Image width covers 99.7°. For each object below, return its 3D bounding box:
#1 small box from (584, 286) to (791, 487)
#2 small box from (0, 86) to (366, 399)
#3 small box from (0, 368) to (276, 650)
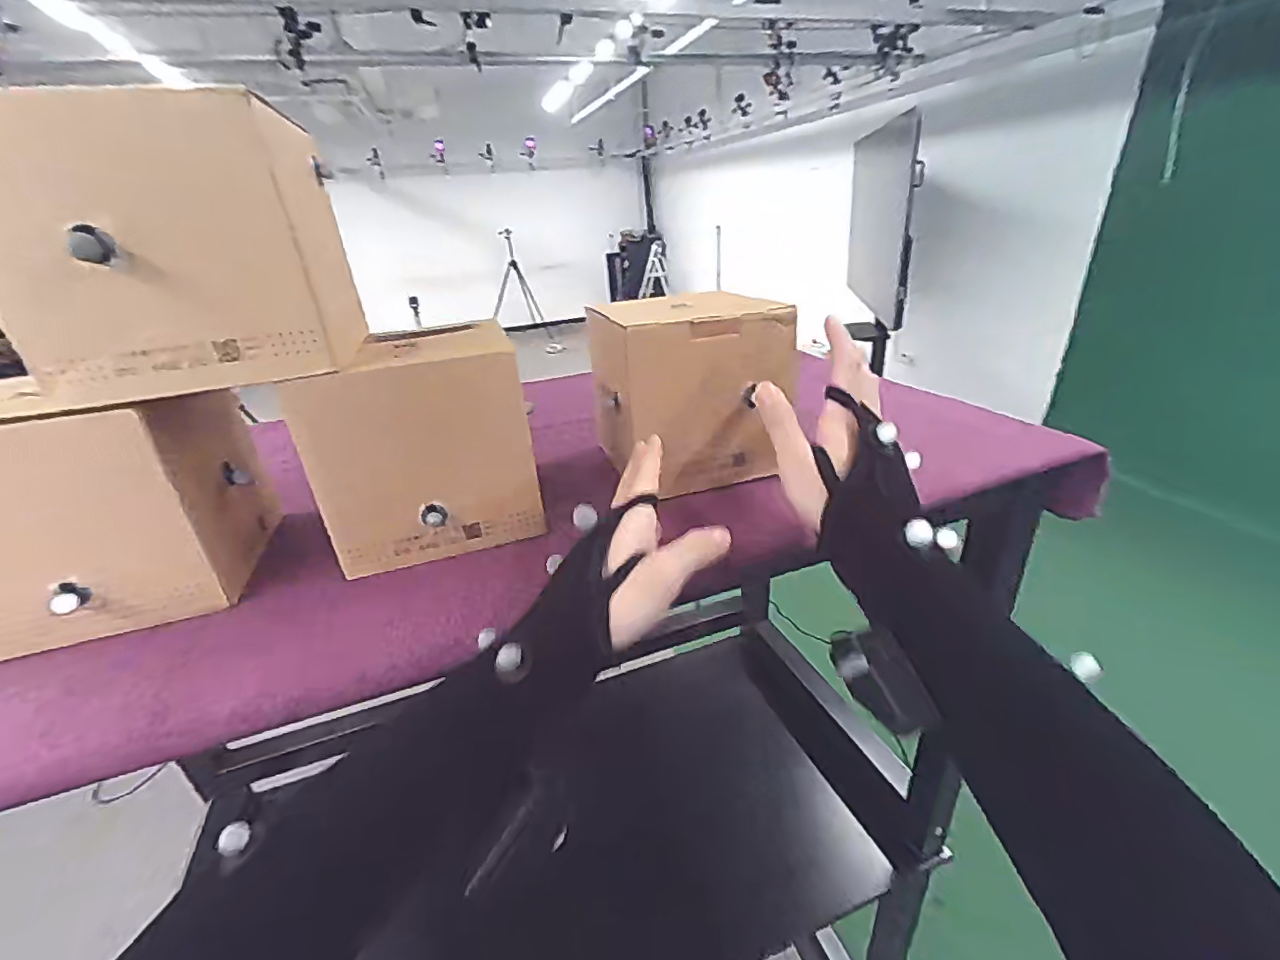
[{"bbox_3d":[0.044,-0.101,0.573,0.168,0.176,0.179,-11,25,-12],"label":"small box"},{"bbox_3d":[-0.319,-0.164,0.396,0.168,0.176,0.179,-13,27,-14],"label":"small box"},{"bbox_3d":[-0.429,0.008,0.435,0.179,0.176,0.168,-12,27,-16],"label":"small box"}]
